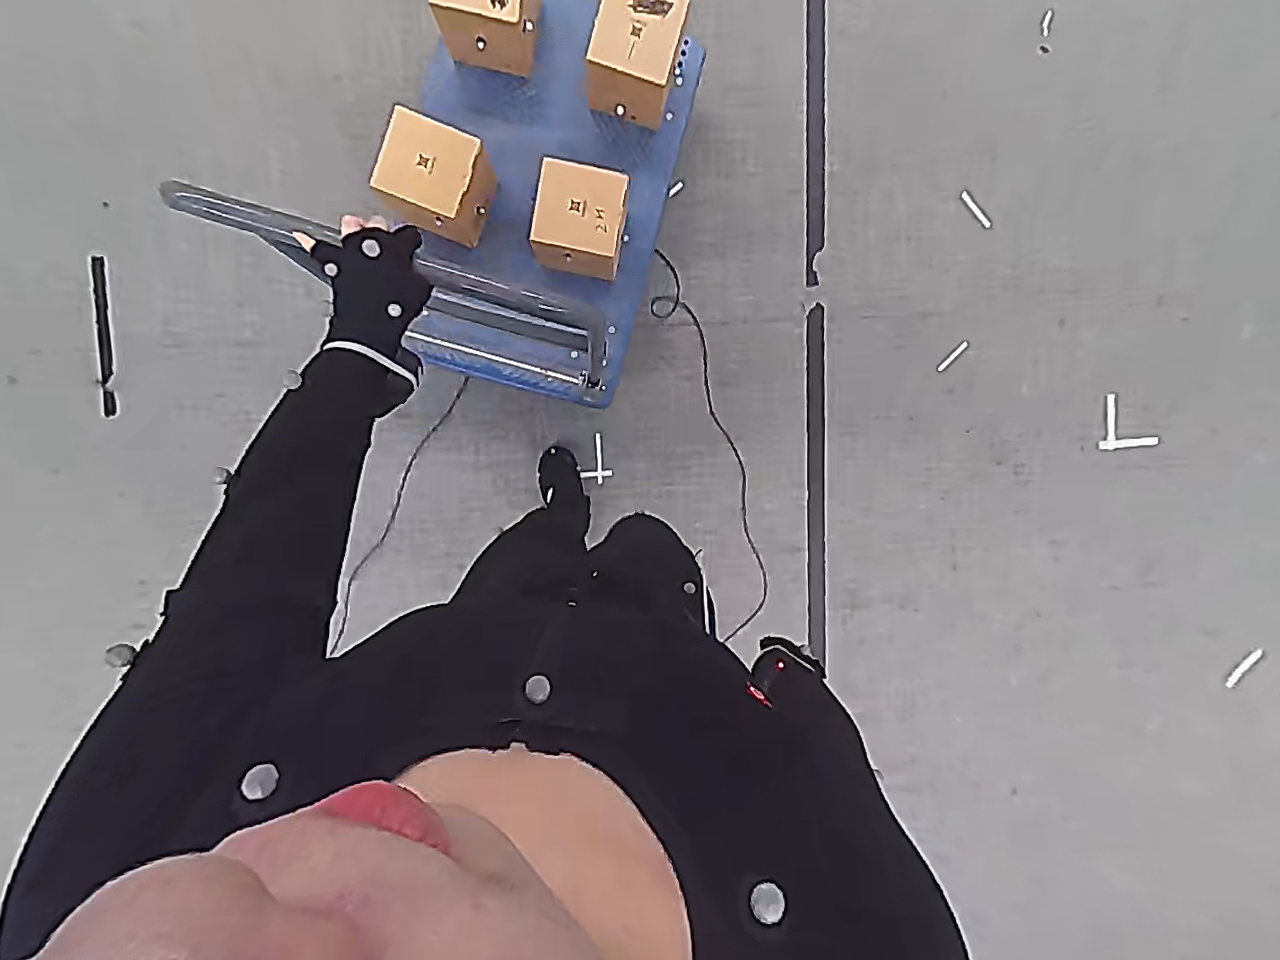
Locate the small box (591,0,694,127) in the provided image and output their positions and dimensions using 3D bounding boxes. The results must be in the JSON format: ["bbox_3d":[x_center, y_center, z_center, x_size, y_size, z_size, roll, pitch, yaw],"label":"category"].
[{"bbox_3d":[0.000,-0.894,1.133,0.168,0.176,0.179,17,95,-4],"label":"small box"}]

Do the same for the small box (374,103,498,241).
[{"bbox_3d":[-0.417,-0.632,1.135,0.179,0.176,0.168,20,93,-6],"label":"small box"}]

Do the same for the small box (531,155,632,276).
[{"bbox_3d":[-0.120,-0.554,1.156,0.179,0.176,0.168,11,95,-4],"label":"small box"}]
